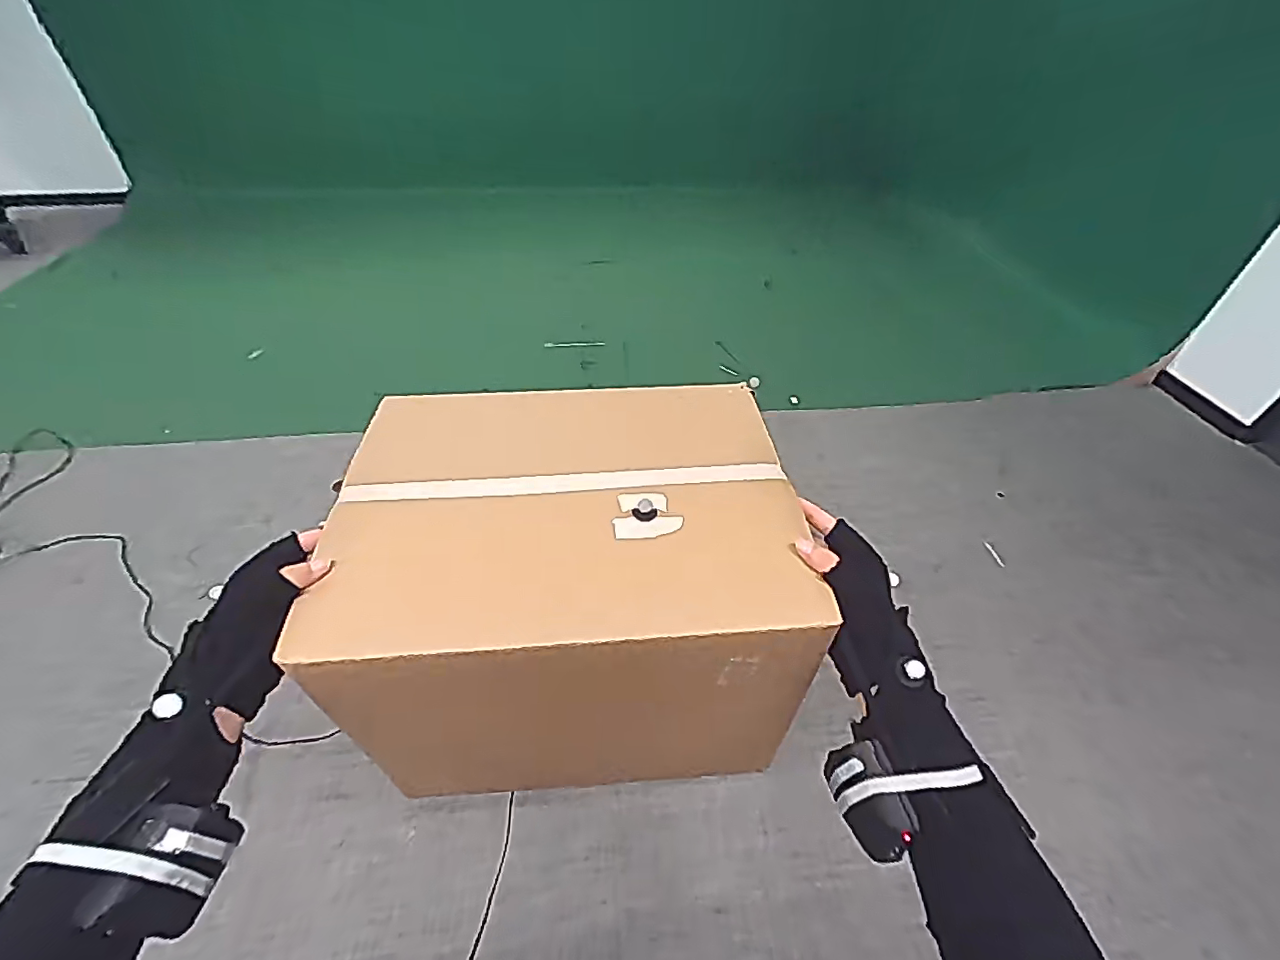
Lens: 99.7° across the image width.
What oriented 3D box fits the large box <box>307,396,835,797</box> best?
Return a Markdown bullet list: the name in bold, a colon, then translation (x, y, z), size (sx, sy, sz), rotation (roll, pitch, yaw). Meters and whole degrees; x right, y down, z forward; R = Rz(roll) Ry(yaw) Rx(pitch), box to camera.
- **large box**: translation (-0.062, 0.124, 0.609), size (0.408, 0.320, 0.320), rotation (-2, 44, -5)
